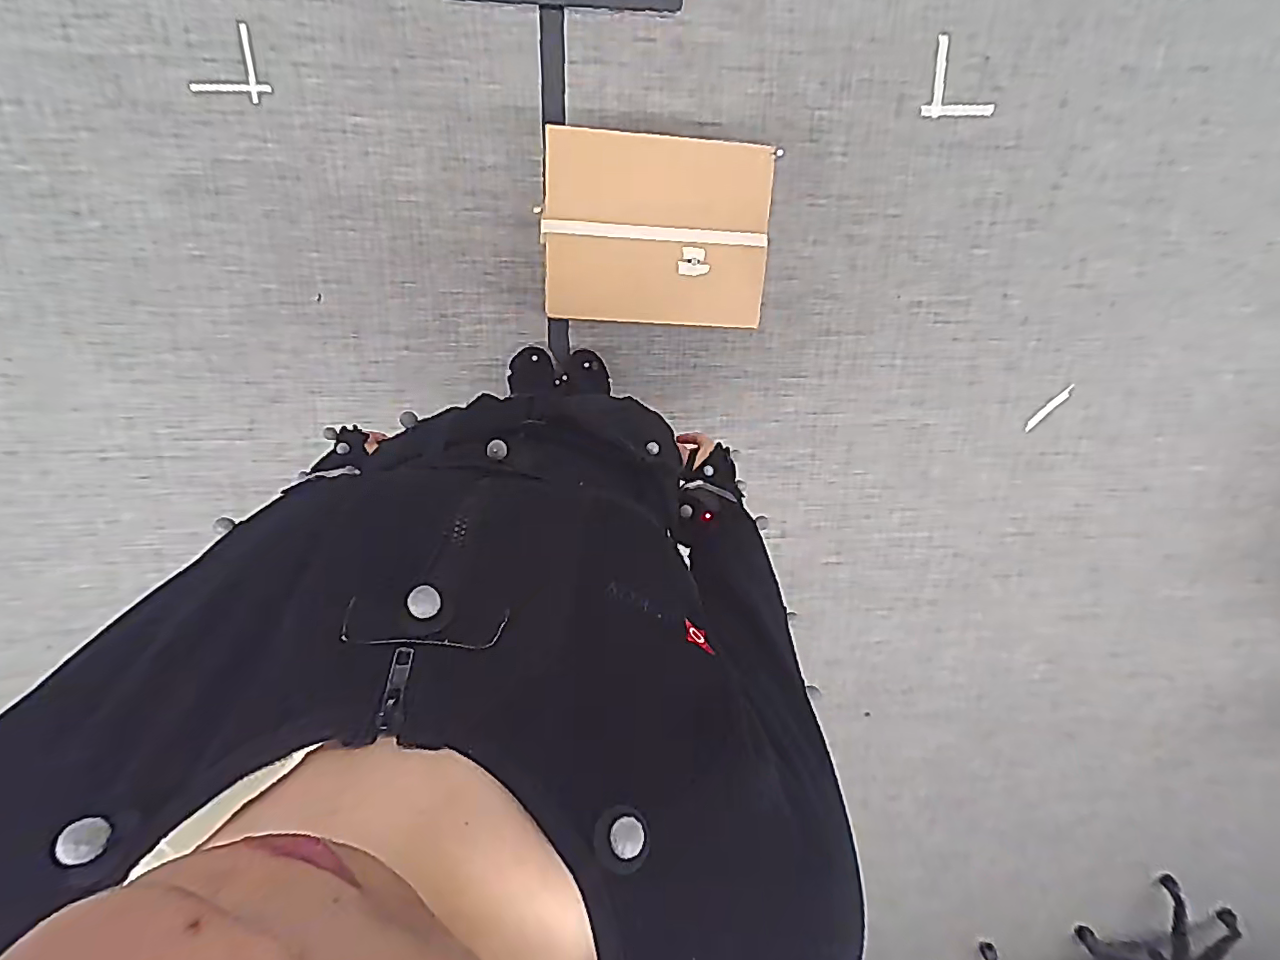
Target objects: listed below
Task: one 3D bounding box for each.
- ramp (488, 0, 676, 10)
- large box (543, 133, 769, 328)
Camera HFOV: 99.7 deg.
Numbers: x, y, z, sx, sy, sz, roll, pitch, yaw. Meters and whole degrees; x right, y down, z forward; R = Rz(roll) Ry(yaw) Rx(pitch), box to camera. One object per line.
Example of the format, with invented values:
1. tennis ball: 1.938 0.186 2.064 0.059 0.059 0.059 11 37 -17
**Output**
1. ramp: -0.151 -1.419 0.880 0.509 0.206 0.991 -4 108 -6
2. large box: 0.010 -0.482 1.122 0.408 0.320 0.320 1 107 -8
